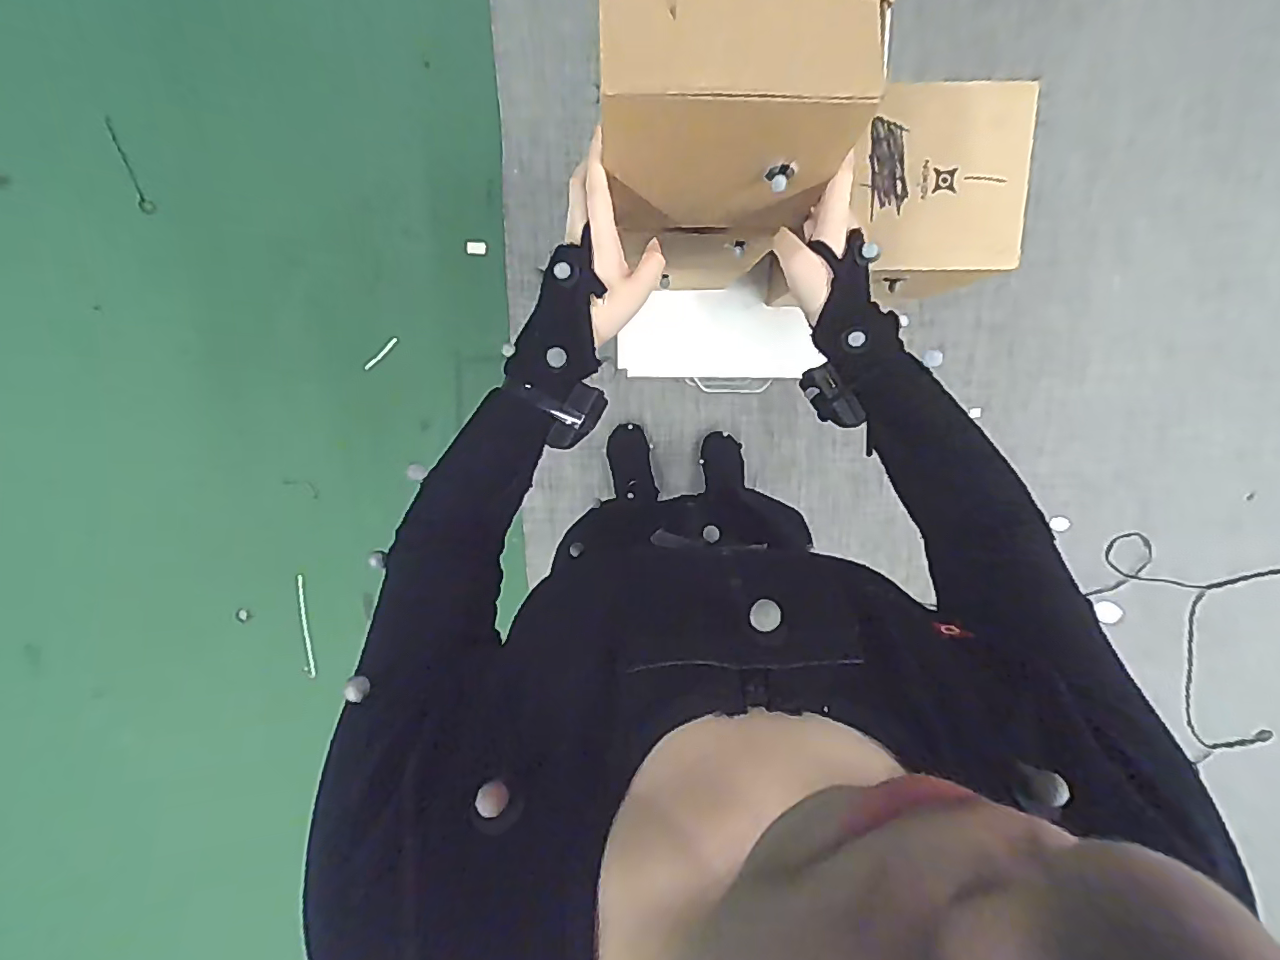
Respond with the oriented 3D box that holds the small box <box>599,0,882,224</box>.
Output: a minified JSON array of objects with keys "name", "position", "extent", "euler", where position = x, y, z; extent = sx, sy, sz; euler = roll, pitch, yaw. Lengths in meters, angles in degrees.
[{"name":"small box","position":[0.058,-0.314,0.410],"extent":[0.179,0.176,0.168],"euler":[-1,89,-2]}]

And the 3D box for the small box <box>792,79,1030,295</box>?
[{"name":"small box","position":[0.275,-0.301,0.591],"extent":[0.179,0.176,0.168],"euler":[0,99,0]}]

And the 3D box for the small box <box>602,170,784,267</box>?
[{"name":"small box","position":[0.050,-0.334,0.583],"extent":[0.179,0.176,0.168],"euler":[0,99,-3]}]

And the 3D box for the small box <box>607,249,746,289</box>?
[{"name":"small box","position":[0.044,-0.363,0.744],"extent":[0.179,0.176,0.168],"euler":[-1,100,-2]}]
